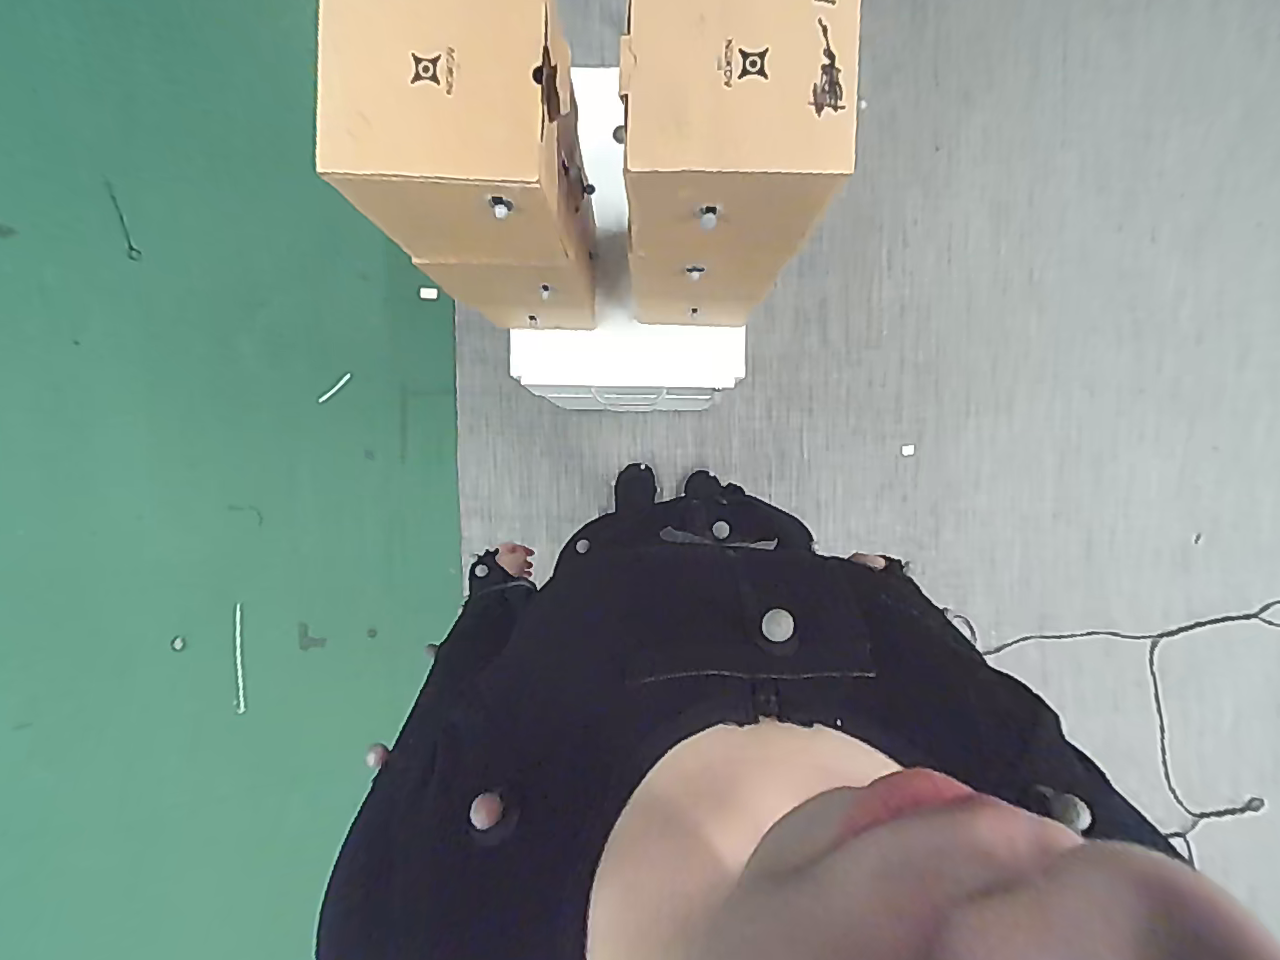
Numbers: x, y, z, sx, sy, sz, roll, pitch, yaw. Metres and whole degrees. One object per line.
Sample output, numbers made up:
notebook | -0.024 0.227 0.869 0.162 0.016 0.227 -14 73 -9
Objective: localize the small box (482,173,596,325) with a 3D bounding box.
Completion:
small box | -0.153 -0.339 0.815 0.168 0.176 0.179 1 92 -1

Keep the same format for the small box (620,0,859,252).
small box | 0.079 -0.317 0.485 0.179 0.176 0.168 1 92 3

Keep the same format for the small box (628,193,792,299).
small box | 0.081 -0.325 0.648 0.179 0.176 0.168 3 92 1

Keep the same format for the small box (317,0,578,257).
small box | -0.156 -0.317 0.490 0.179 0.176 0.168 2 92 -1

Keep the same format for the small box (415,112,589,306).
small box | -0.154 -0.316 0.654 0.179 0.176 0.168 0 91 0
